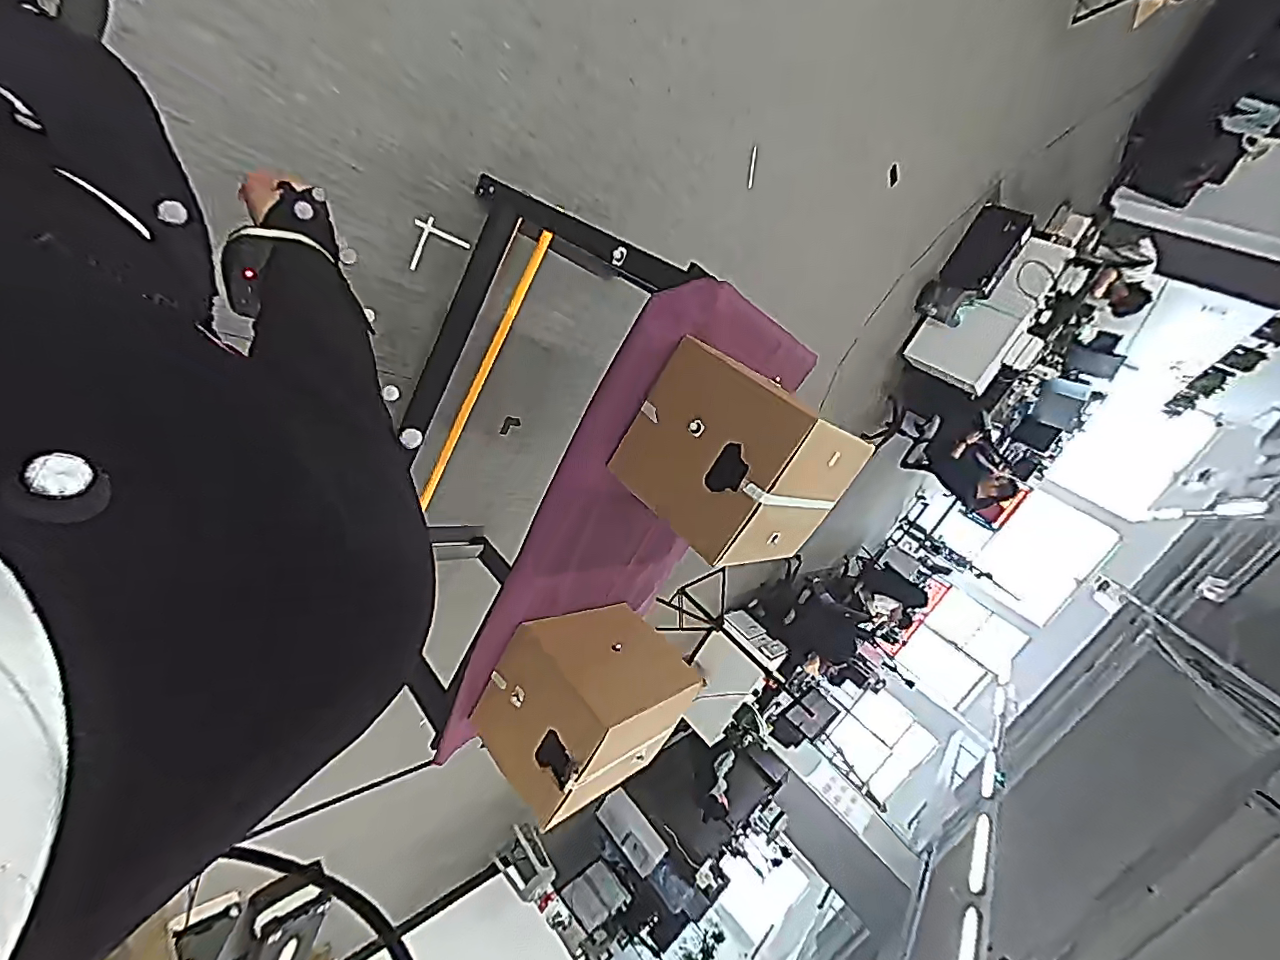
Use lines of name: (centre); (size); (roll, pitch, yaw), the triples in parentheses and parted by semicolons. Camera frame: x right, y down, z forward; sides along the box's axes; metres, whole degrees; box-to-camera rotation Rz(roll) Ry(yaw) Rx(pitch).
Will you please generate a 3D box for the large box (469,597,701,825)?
large box: (-0.129, 0.523, 1.321); (0.408, 0.320, 0.320); (5, 120, -56)
